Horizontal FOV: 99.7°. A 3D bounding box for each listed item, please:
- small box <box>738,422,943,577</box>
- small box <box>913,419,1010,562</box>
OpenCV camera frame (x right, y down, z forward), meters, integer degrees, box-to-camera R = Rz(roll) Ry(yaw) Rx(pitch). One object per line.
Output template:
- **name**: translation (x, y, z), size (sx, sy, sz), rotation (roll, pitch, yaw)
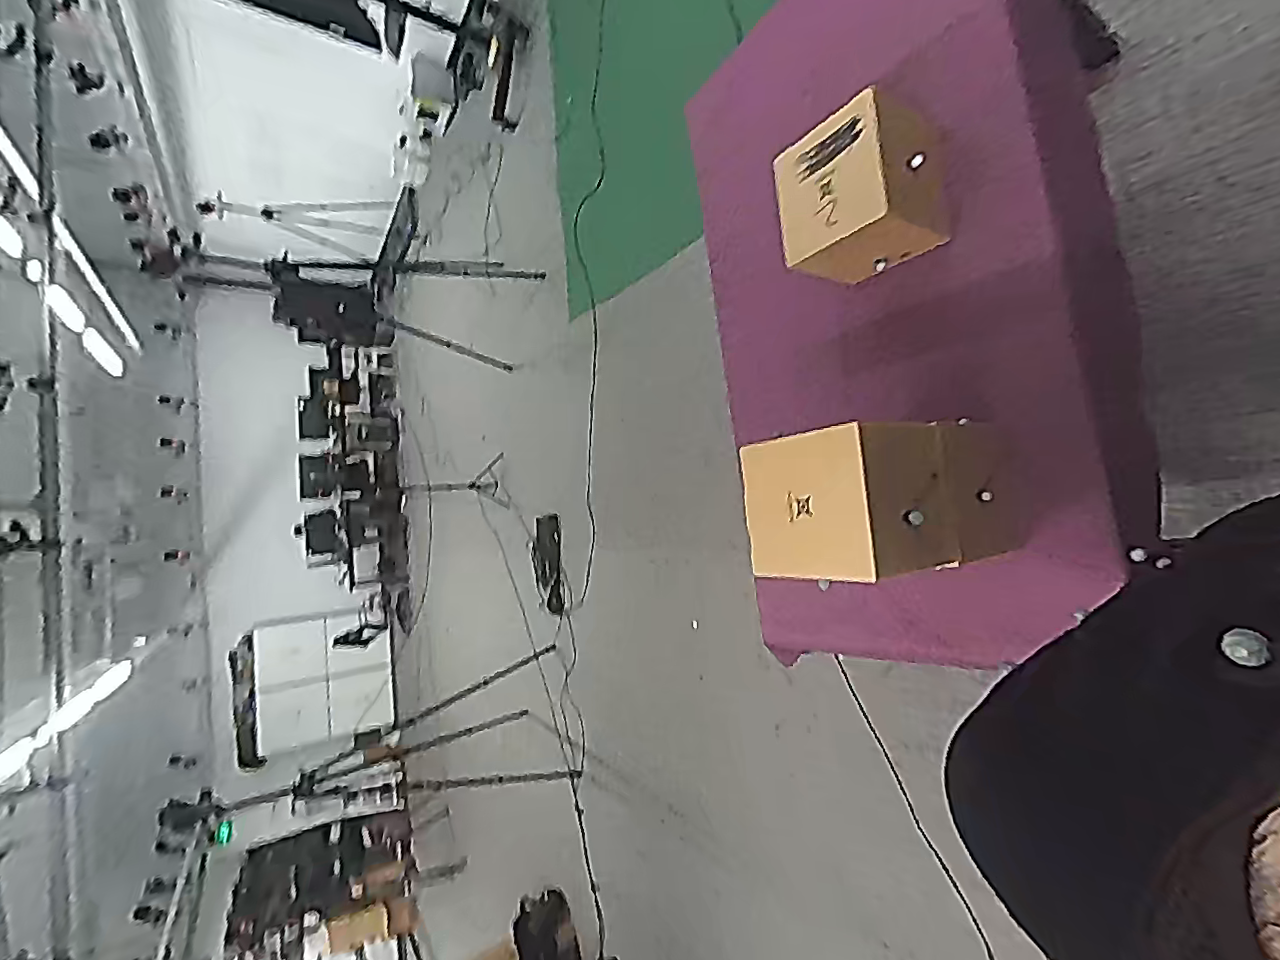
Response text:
- **small box**: translation (0.249, 0.023, 0.668), size (0.179, 0.176, 0.168), rotation (-11, 83, 56)
- **small box**: translation (0.384, 0.018, 0.758), size (0.168, 0.176, 0.179), rotation (-13, 82, 55)
